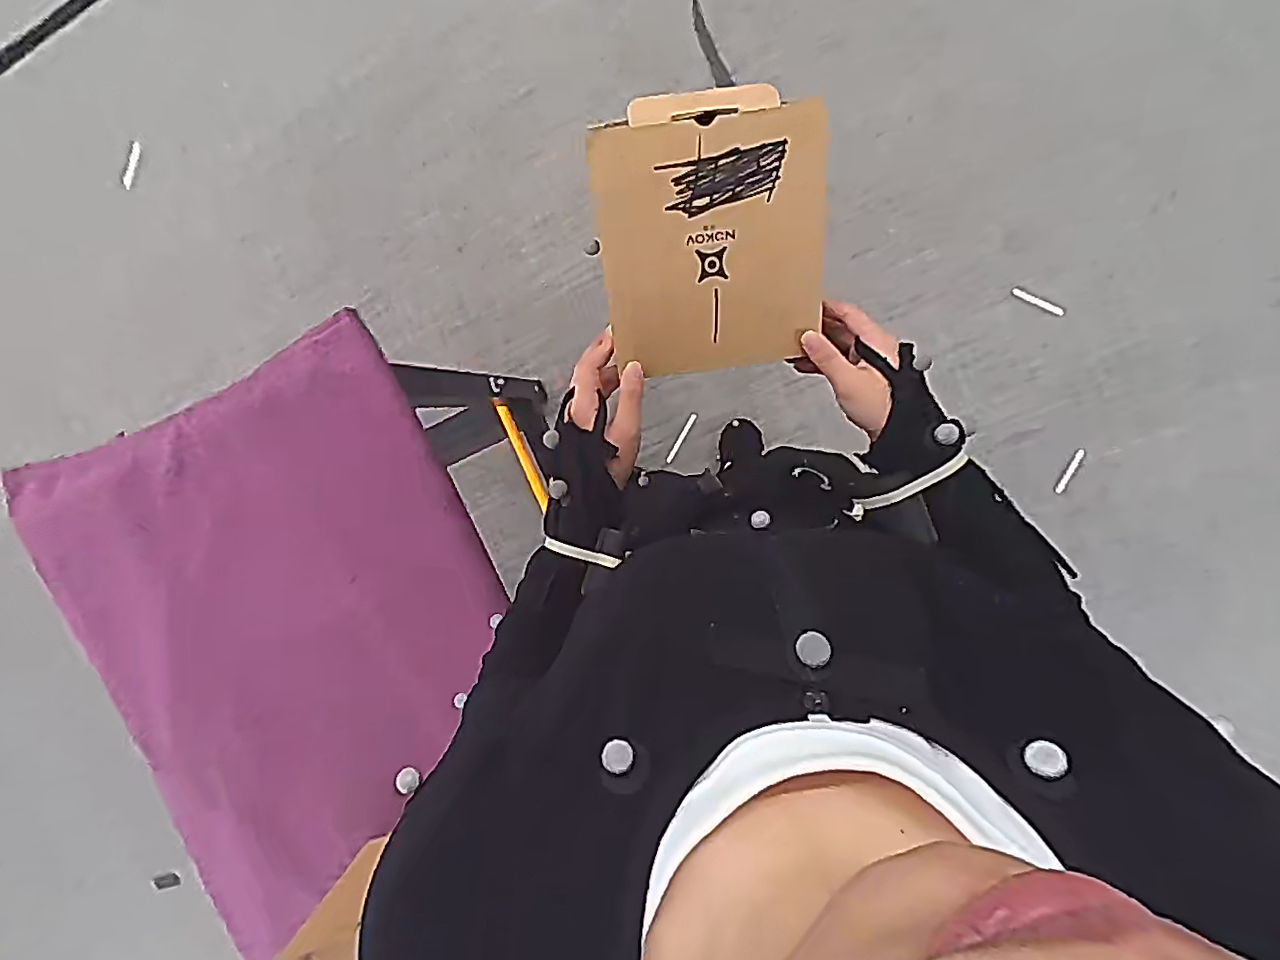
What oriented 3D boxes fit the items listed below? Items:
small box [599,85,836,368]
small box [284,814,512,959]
[{"bbox_3d":[0.055,-0.208,0.467,0.168,0.176,0.179,-7,115,1],"label":"small box"},{"bbox_3d":[-0.289,0.575,0.686,0.168,0.176,0.179,-23,93,10],"label":"small box"}]
